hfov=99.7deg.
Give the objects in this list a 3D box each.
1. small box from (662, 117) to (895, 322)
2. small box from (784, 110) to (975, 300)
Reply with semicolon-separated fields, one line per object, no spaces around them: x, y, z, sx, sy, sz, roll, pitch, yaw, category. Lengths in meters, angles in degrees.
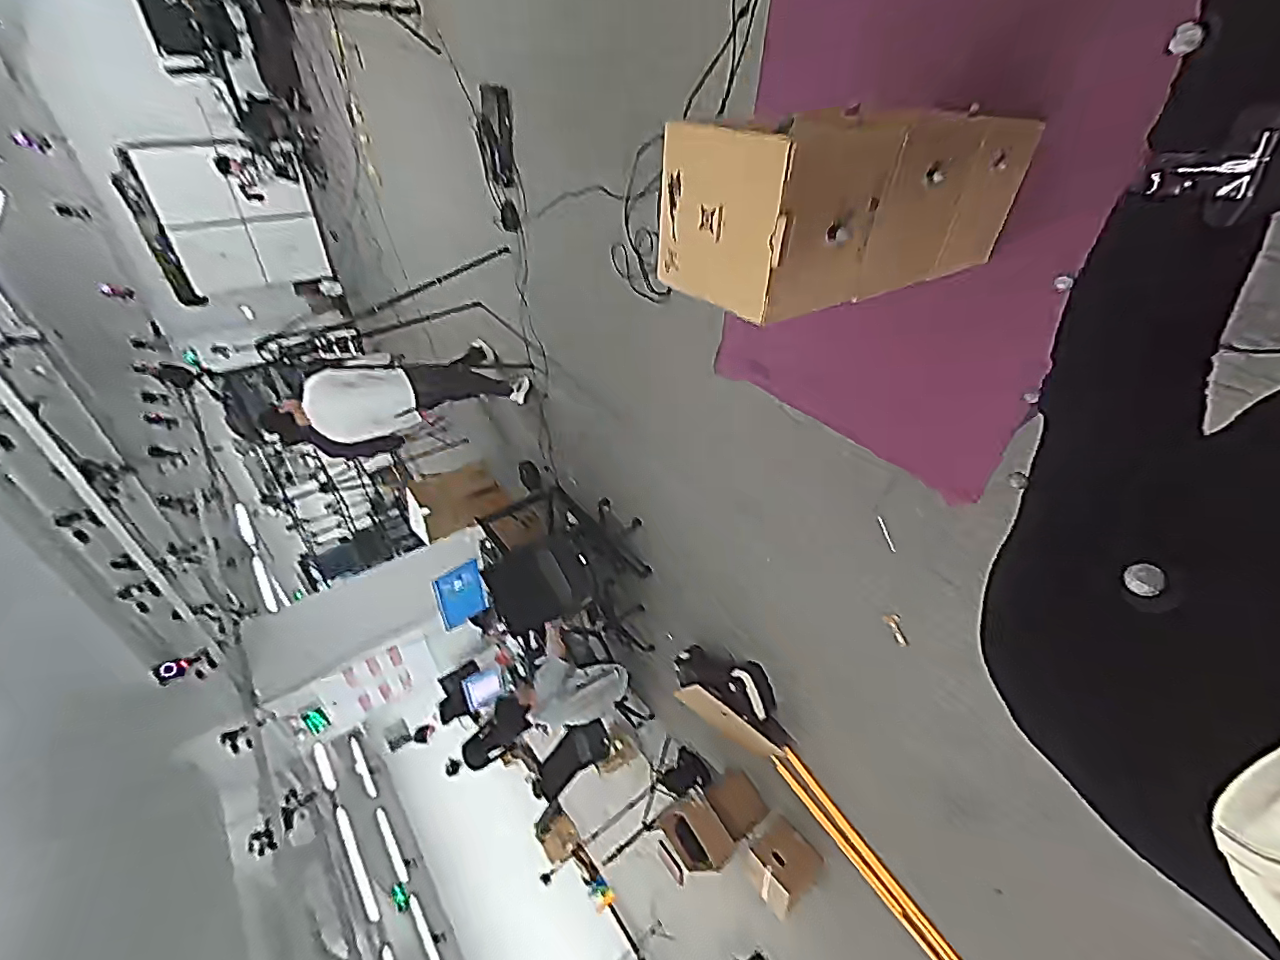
0.146;-0.297;0.601;0.179;0.176;0.168;40;141;38;small box
0.279;-0.352;0.677;0.168;0.176;0.179;41;143;37;small box
